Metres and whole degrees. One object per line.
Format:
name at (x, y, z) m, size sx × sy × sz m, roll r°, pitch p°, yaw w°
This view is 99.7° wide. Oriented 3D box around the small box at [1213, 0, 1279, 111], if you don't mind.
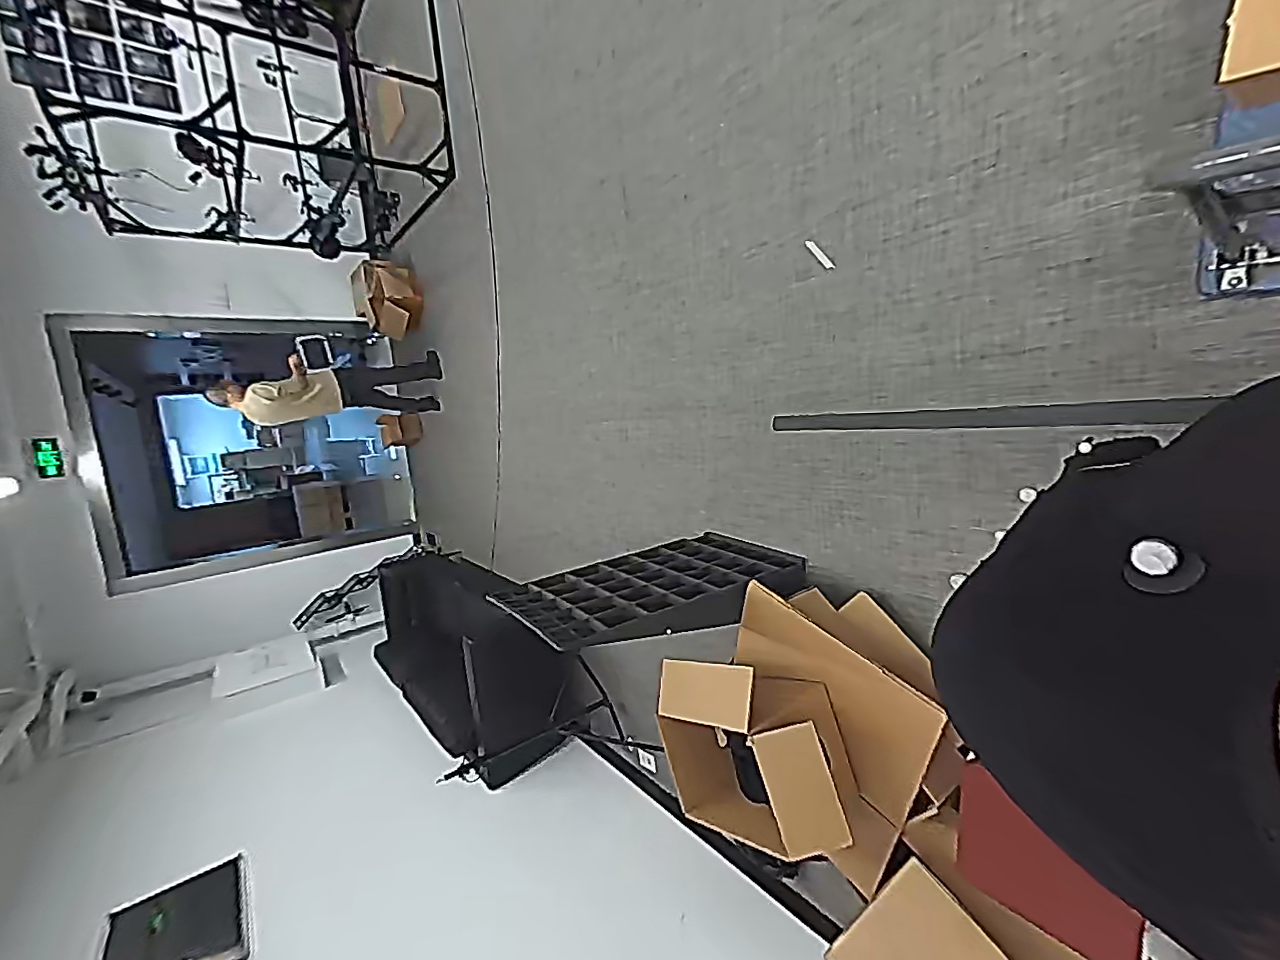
small box at (0.934, -0.637, 0.736) m, size 0.179 × 0.176 × 0.168 m, roll 15°, pitch 110°, yaw 49°
